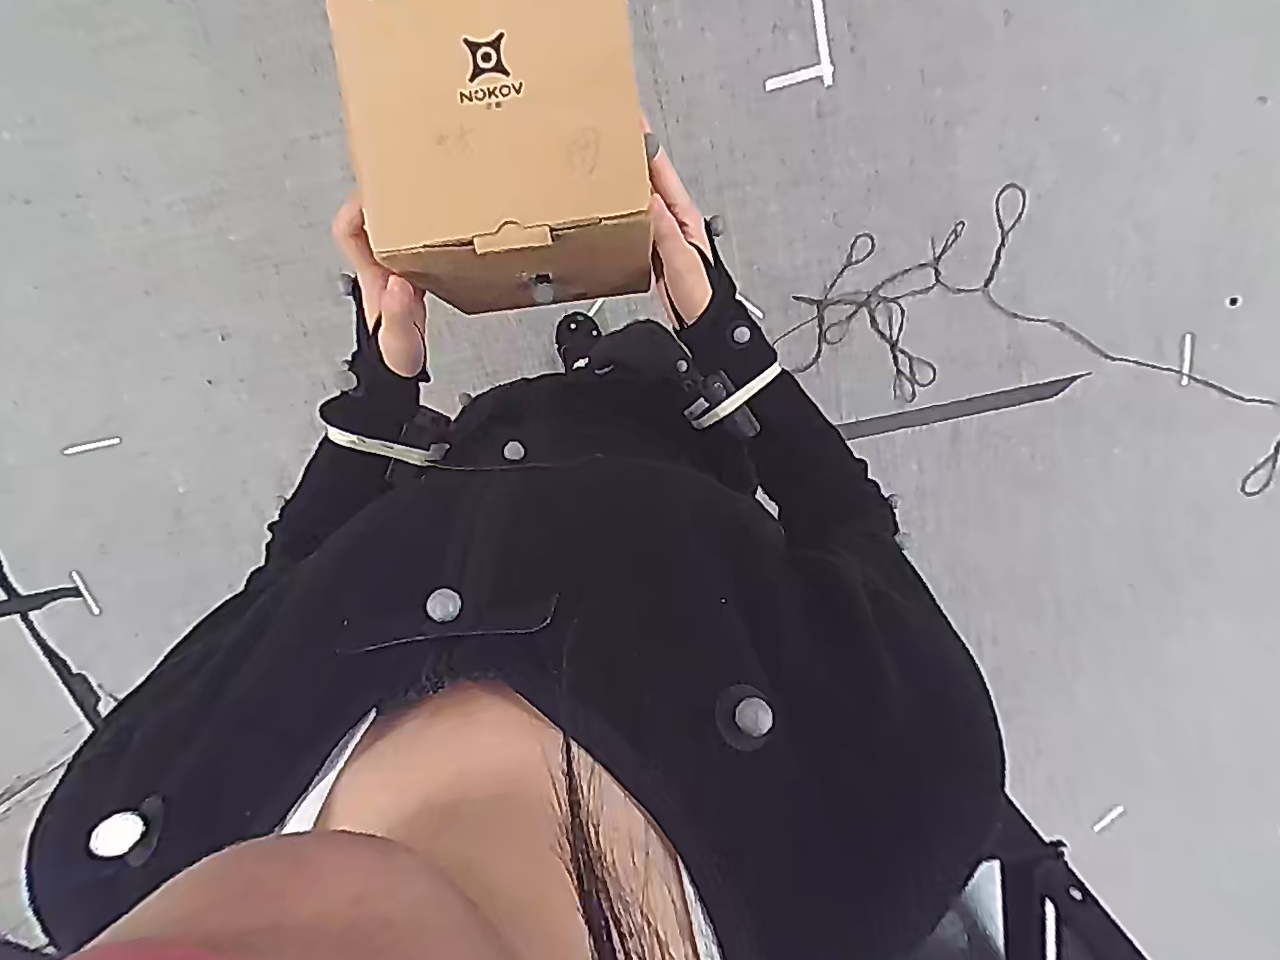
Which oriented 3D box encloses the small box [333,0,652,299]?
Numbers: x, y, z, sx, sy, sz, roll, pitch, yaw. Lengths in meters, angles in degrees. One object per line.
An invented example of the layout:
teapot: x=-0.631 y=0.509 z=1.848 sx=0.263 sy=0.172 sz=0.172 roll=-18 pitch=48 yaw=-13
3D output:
small box: x=-0.080 y=-0.234 z=0.379 sx=0.168 sy=0.176 sz=0.179 roll=-7 pitch=96 yaw=1
